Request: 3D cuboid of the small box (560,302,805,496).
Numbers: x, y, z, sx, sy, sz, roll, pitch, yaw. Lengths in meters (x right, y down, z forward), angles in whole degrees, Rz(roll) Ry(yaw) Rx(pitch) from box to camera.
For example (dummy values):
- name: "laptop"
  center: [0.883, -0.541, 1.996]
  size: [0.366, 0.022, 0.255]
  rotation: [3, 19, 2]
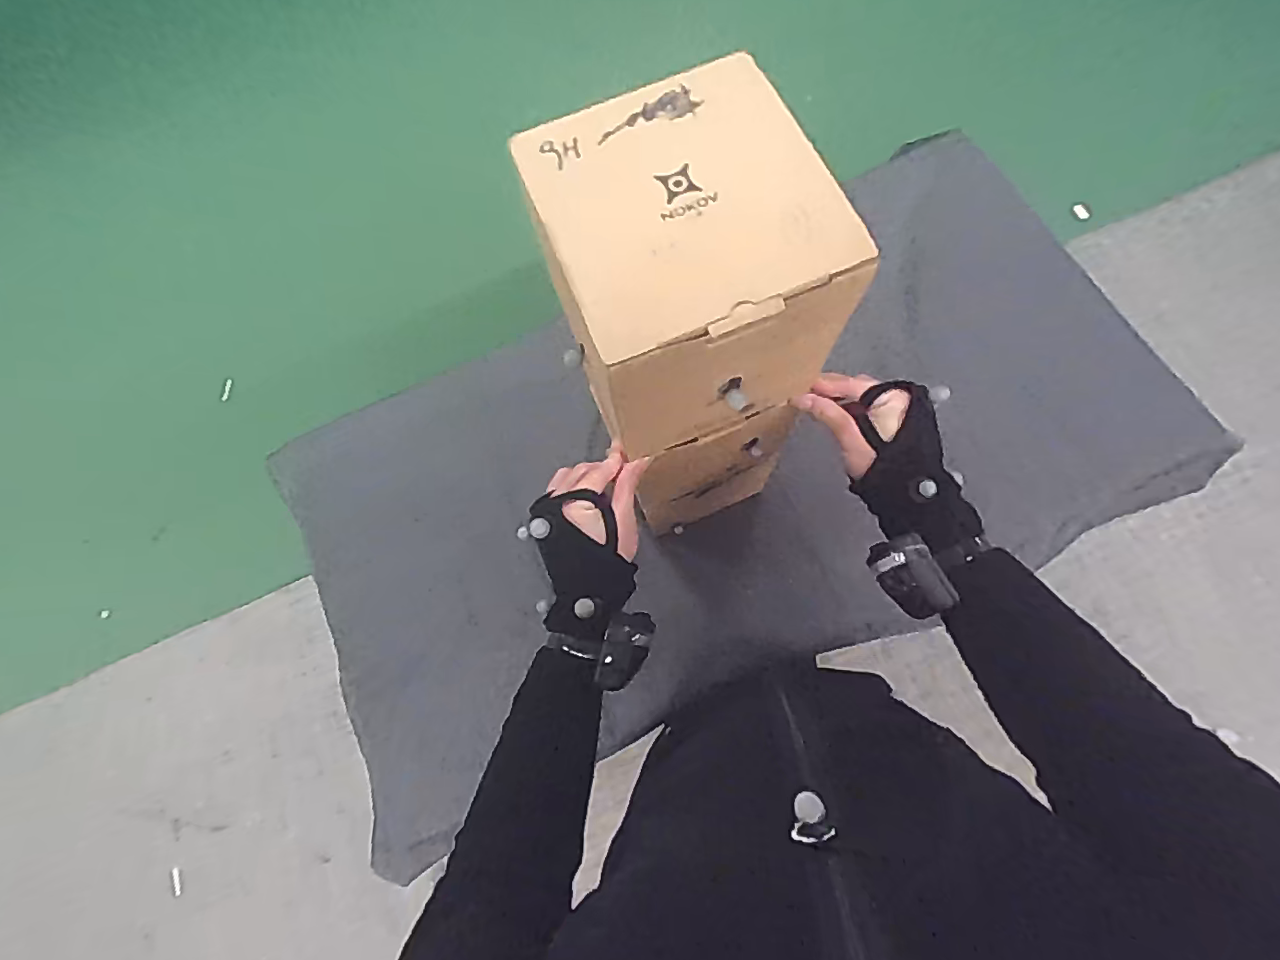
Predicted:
- name: "small box"
  center: [0.040, -0.097, 0.545]
  size: [0.168, 0.176, 0.179]
  rotation: [-23, 73, -3]

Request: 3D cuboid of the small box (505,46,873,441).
- name: "small box"
  center: [0.028, -0.143, 0.388]
  size: [0.168, 0.176, 0.179]
  rotation: [-22, 75, -3]

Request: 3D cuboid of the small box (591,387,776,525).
- name: "small box"
  center: [0.055, -0.053, 0.699]
  size: [0.168, 0.176, 0.179]
  rotation: [-24, 73, -1]
